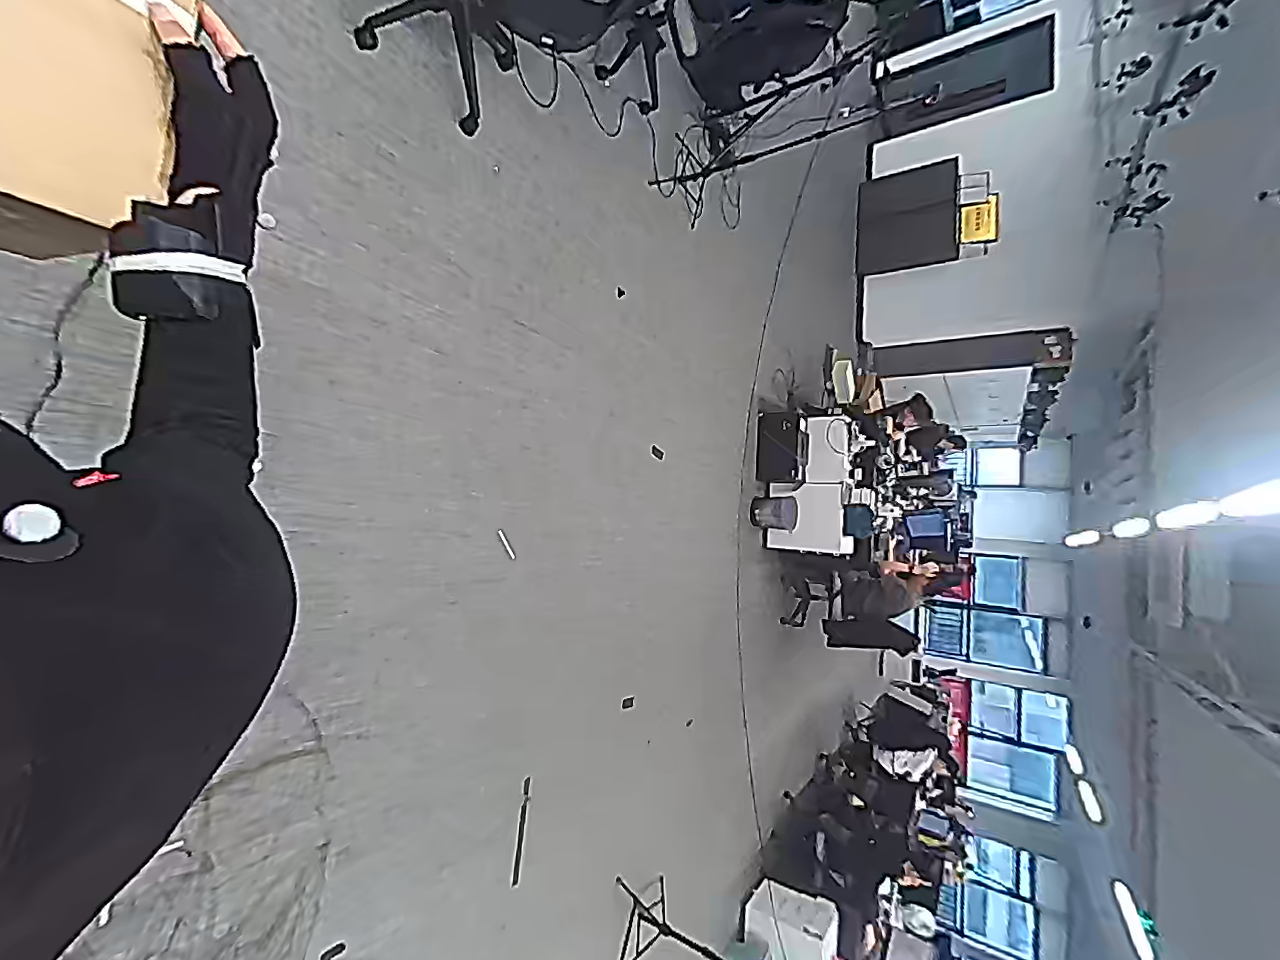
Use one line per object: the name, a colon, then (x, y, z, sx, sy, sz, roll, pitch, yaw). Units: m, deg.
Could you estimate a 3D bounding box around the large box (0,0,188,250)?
large box: (-0.570, -0.366, 0.305, 0.408, 0.320, 0.320, 7, 95, -61)
